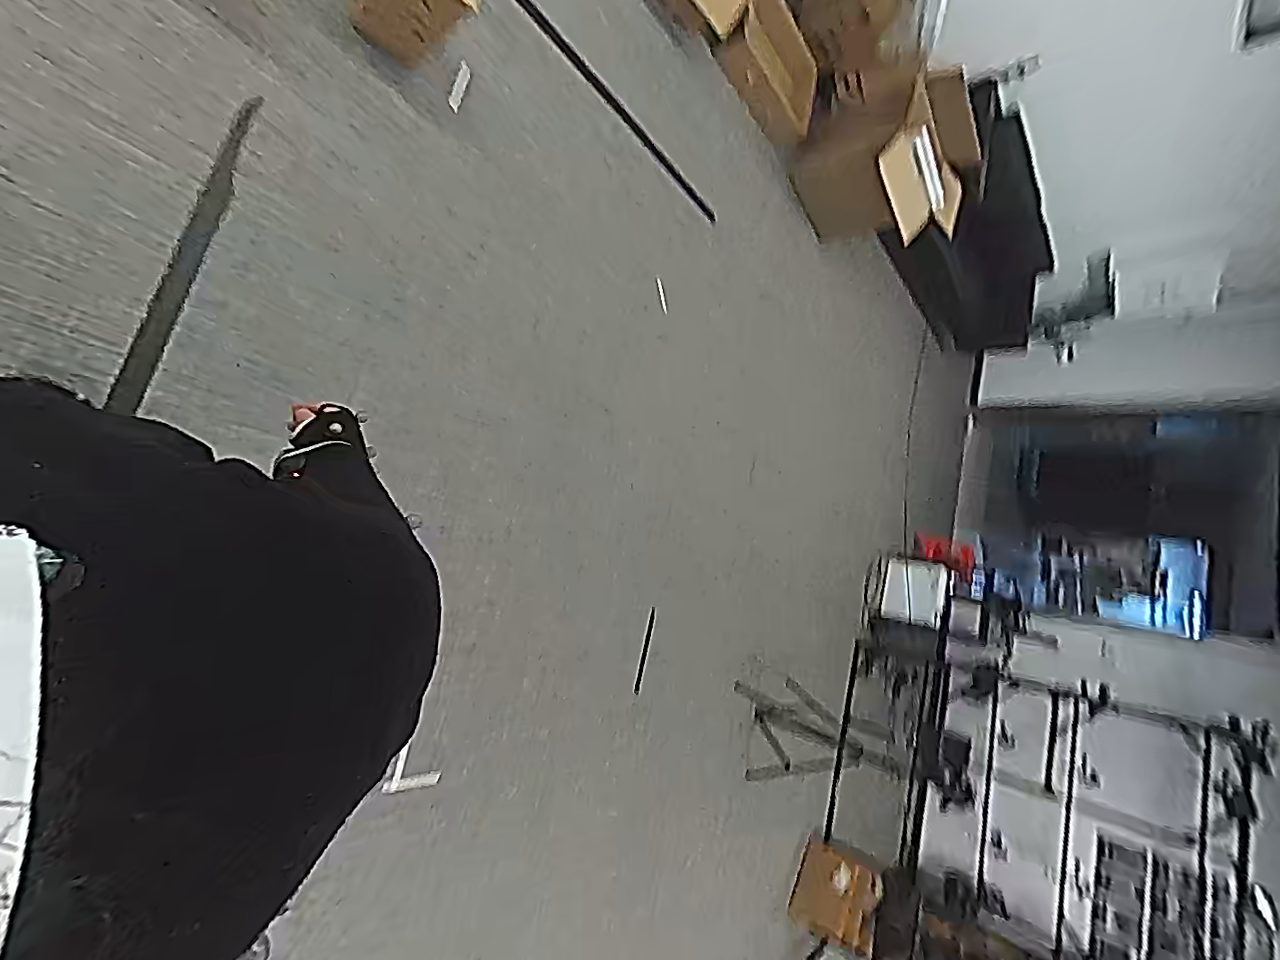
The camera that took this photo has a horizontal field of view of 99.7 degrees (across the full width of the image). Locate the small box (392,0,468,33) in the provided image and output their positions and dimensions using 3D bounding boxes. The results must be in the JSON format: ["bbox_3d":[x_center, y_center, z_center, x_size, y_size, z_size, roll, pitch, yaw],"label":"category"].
[{"bbox_3d":[-0.503,-1.212,1.264,0.168,0.176,0.179,13,85,-47],"label":"small box"}]

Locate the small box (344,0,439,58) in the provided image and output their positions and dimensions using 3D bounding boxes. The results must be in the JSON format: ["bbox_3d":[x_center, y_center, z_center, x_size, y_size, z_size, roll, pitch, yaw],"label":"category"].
[{"bbox_3d":[-0.620,-1.230,1.377,0.179,0.176,0.168,14,83,-47],"label":"small box"}]
